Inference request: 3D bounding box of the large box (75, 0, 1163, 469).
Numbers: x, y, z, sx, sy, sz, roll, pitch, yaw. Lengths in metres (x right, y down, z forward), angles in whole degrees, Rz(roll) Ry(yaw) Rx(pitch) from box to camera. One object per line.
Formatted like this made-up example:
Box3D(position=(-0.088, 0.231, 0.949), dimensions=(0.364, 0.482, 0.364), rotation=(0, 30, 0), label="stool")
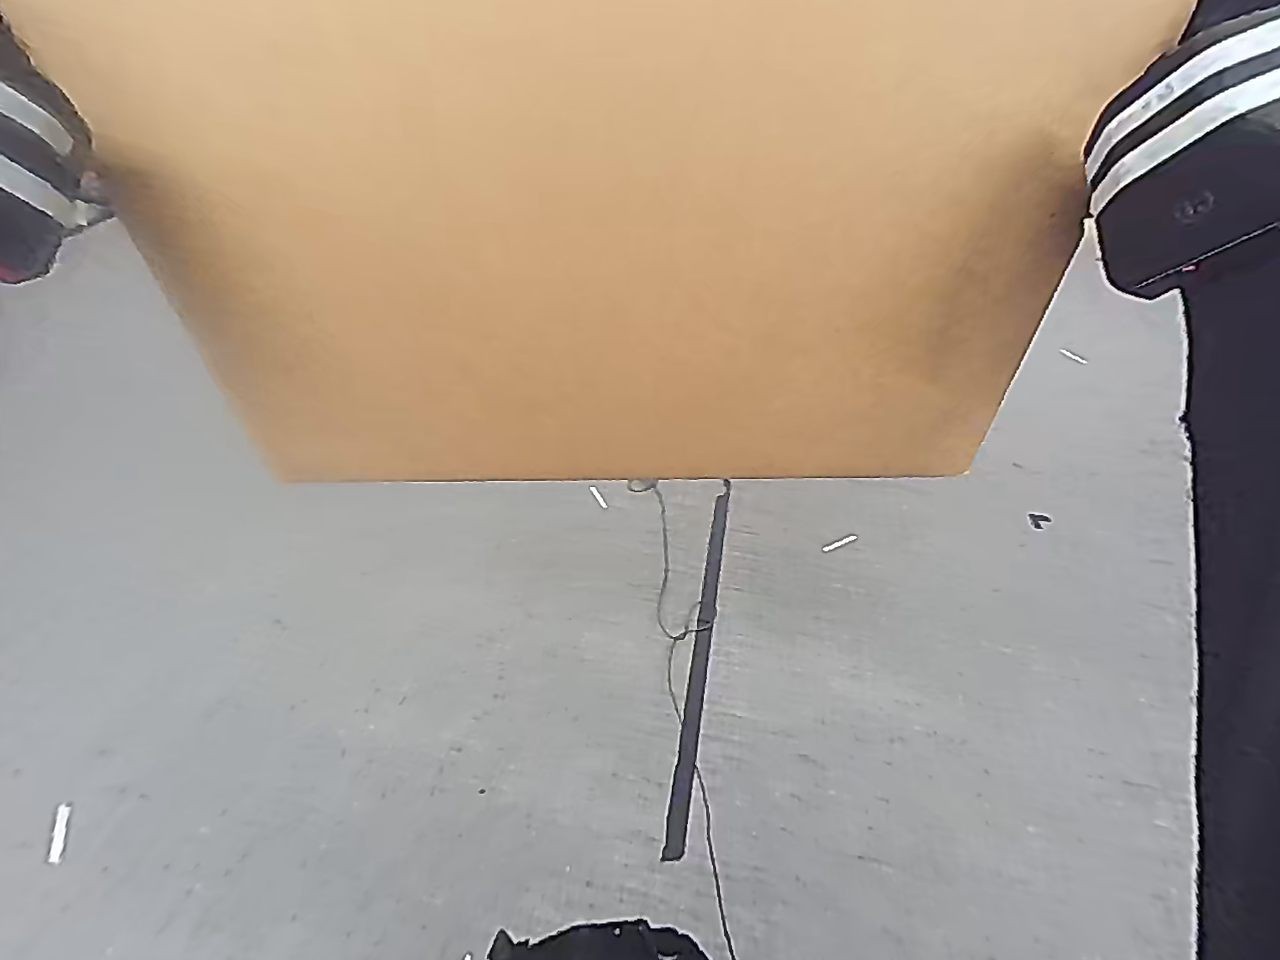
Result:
Box3D(position=(-0.009, -0.216, 0.347), dimensions=(0.408, 0.320, 0.320), rotation=(0, 39, -1), label="large box")
